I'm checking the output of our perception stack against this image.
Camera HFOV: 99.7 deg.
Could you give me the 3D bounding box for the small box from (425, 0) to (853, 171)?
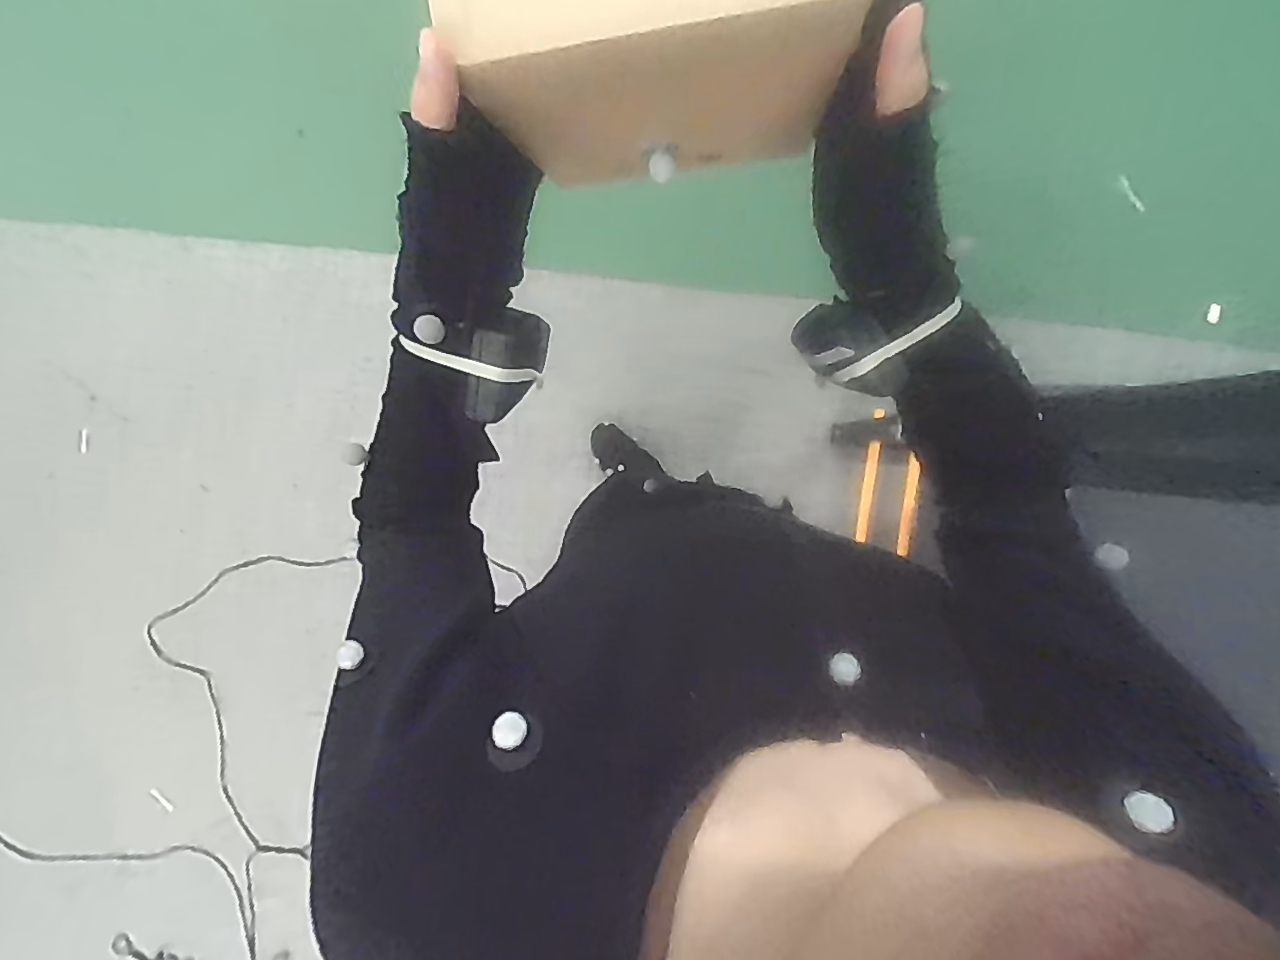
[{"bbox_3d":[0.002,-0.277,0.258,0.168,0.176,0.179,-3,104,9],"label":"small box"}]
